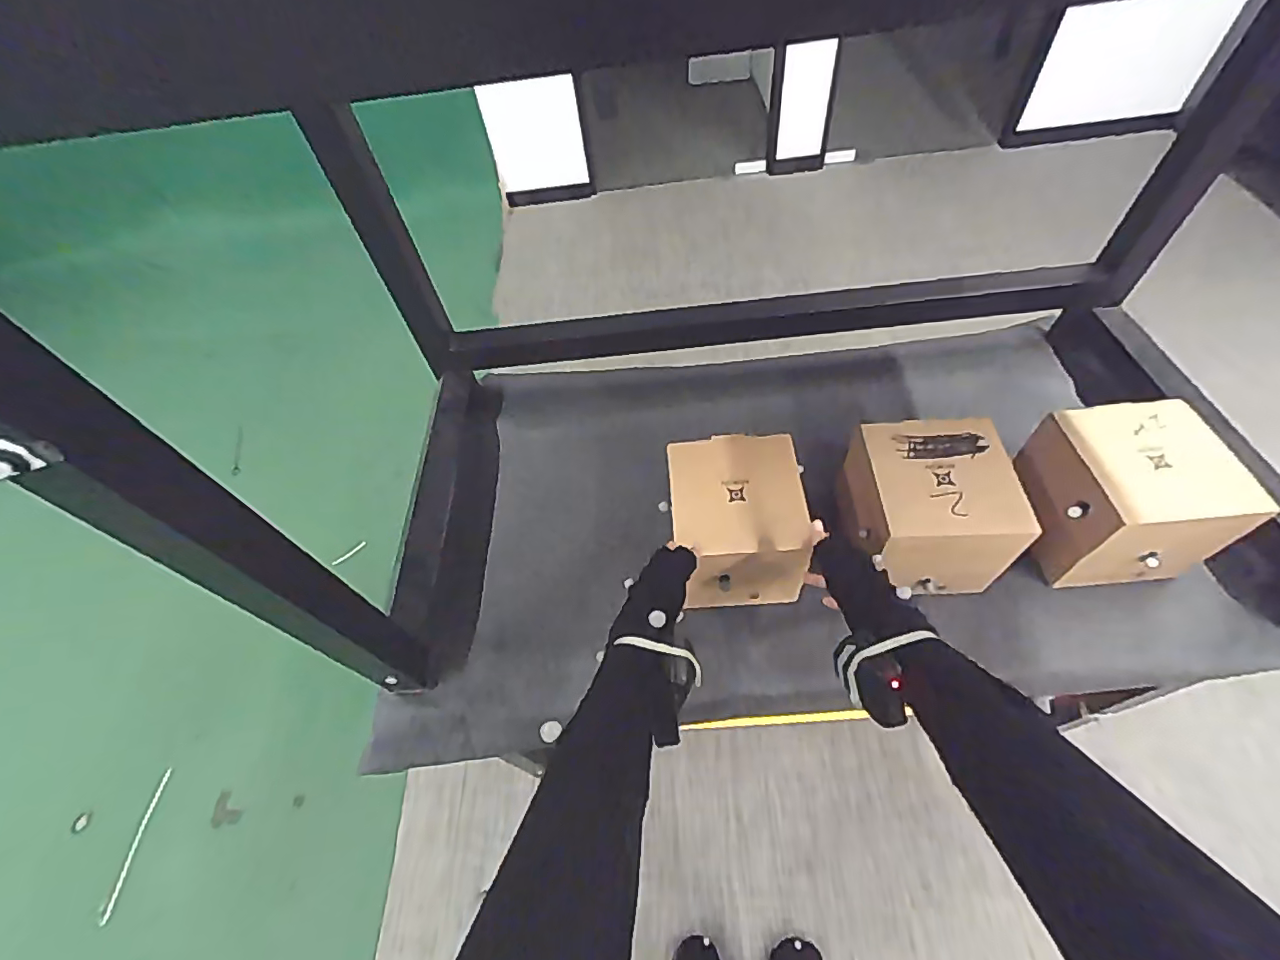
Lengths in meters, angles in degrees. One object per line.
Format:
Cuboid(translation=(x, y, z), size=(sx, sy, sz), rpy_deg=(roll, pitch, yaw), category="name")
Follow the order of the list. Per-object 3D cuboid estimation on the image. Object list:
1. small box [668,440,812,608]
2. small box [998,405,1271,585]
Cuboid(translation=(0.129, 0.068, 0.747), size=(0.168, 0.176, 0.179), rpy_deg=(-4, 54, 4), category="small box")
Cuboid(translation=(0.620, 0.028, 0.712), size=(0.168, 0.176, 0.179), rpy_deg=(-6, 53, 3), category="small box")
